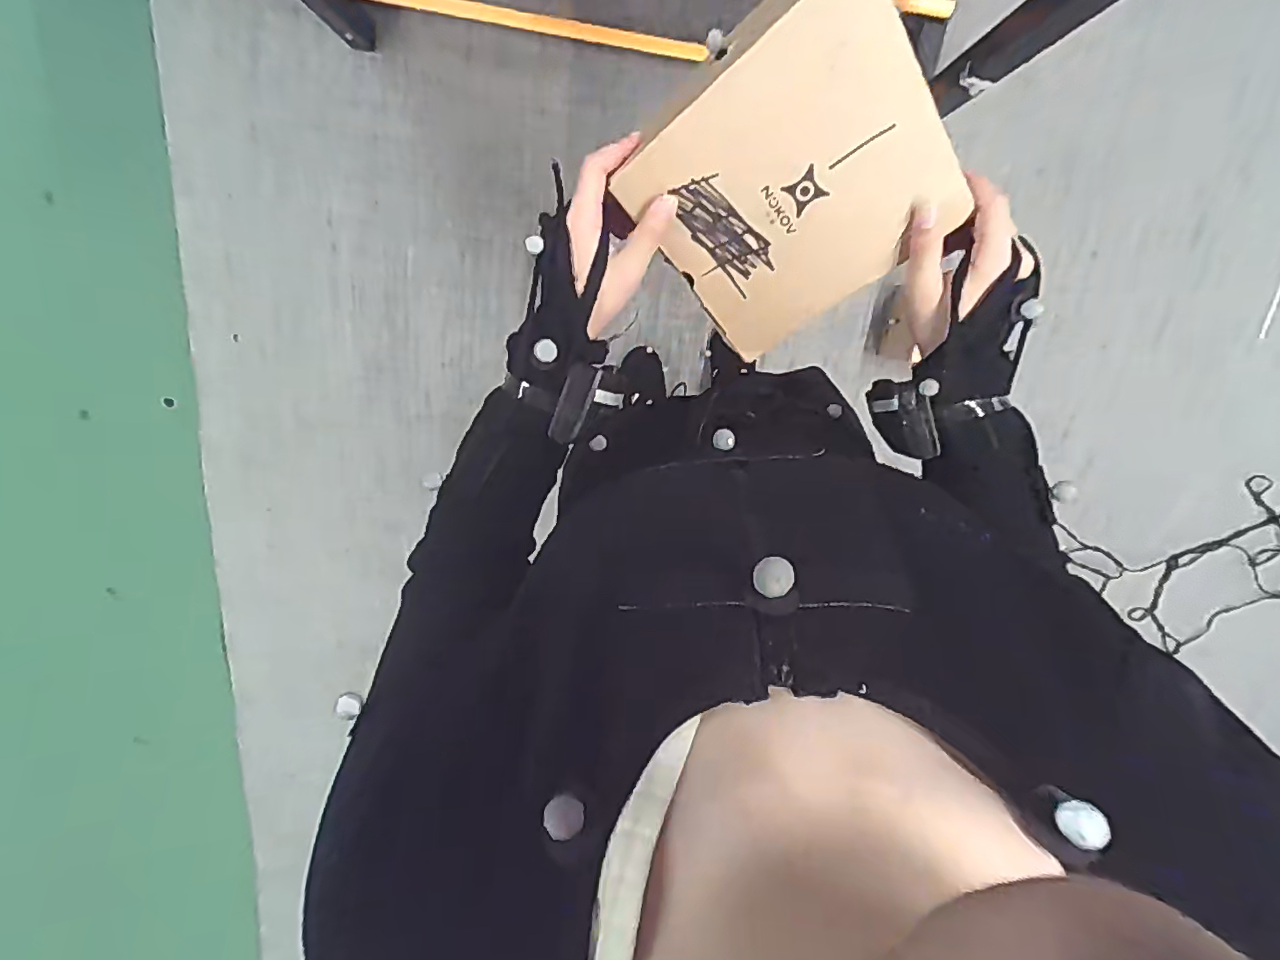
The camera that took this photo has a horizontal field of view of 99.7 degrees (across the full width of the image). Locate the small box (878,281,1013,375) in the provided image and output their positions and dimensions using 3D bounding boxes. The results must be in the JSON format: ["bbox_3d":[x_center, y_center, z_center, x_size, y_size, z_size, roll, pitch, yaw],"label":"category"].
[{"bbox_3d":[0.660,-0.334,1.191,0.179,0.176,0.168,9,105,-2],"label":"small box"}]
